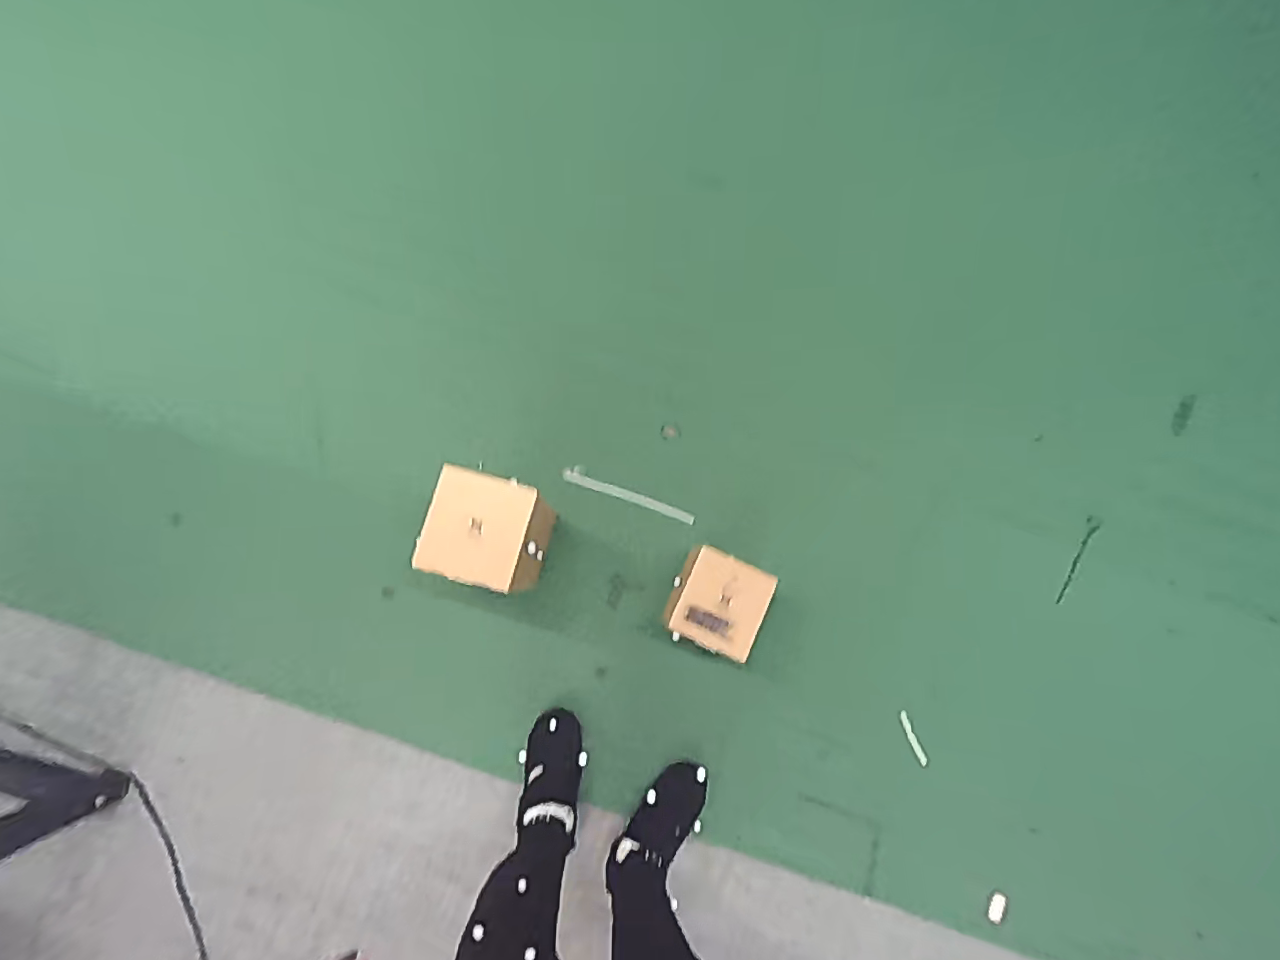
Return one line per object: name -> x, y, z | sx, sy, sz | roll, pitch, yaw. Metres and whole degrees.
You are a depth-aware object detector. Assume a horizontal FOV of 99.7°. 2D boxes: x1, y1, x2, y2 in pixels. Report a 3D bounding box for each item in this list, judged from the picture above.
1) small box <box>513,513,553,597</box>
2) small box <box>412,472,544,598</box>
small box -> -0.289, 0.134, 1.131 | 0.168, 0.176, 0.179 | 17, 80, 0
small box -> -0.277, 0.102, 0.973 | 0.168, 0.176, 0.179 | 15, 81, 0
